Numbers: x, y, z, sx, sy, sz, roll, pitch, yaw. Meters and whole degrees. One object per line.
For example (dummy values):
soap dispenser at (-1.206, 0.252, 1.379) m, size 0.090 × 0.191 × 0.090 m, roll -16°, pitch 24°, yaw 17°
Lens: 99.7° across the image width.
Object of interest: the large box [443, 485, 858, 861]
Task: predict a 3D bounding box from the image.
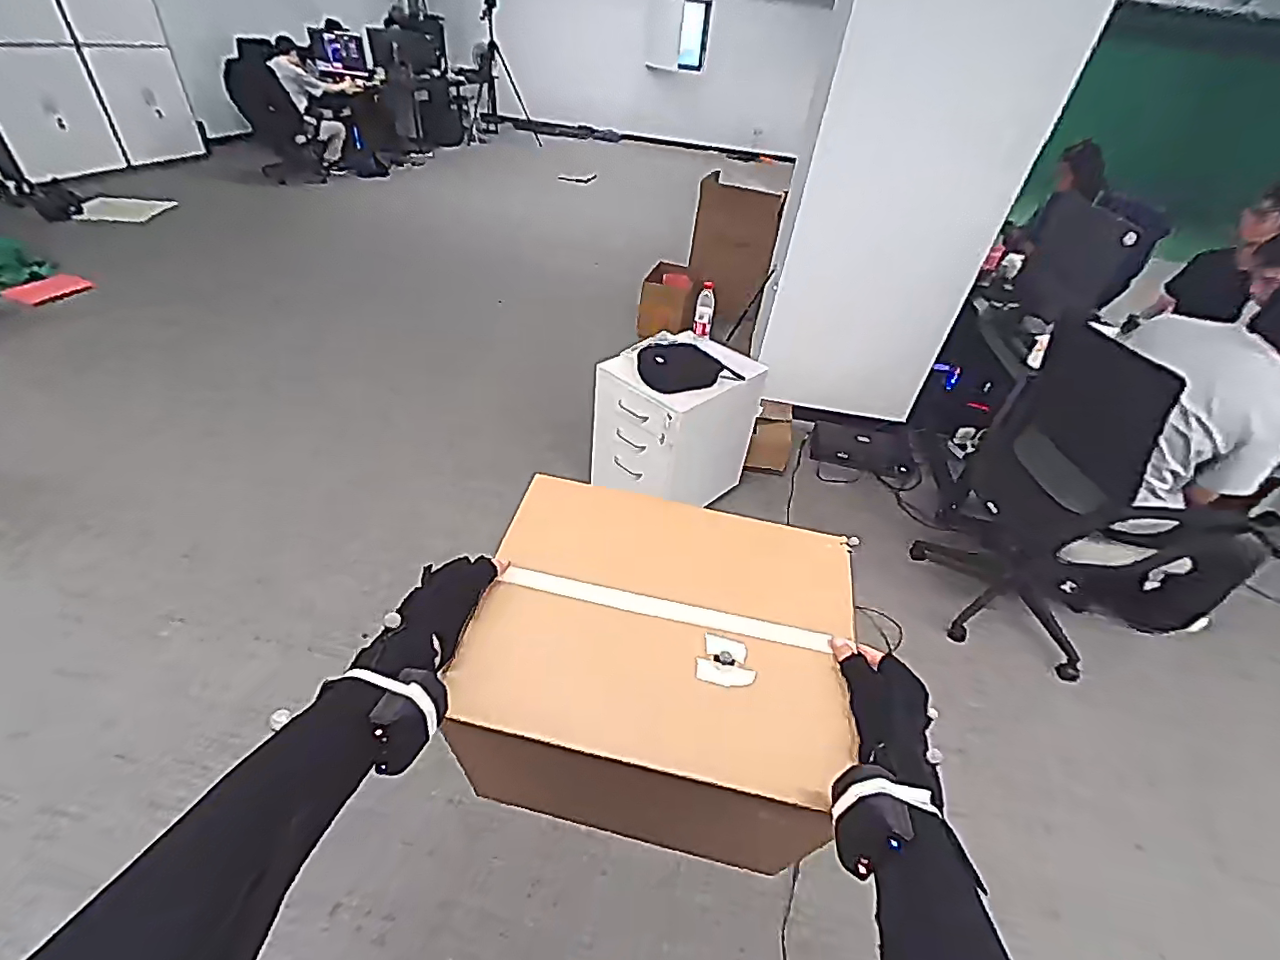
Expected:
large box at (0.017, 0.251, 0.709) m, size 0.408 × 0.320 × 0.320 m, roll 12°, pitch 48°, yaw 4°
